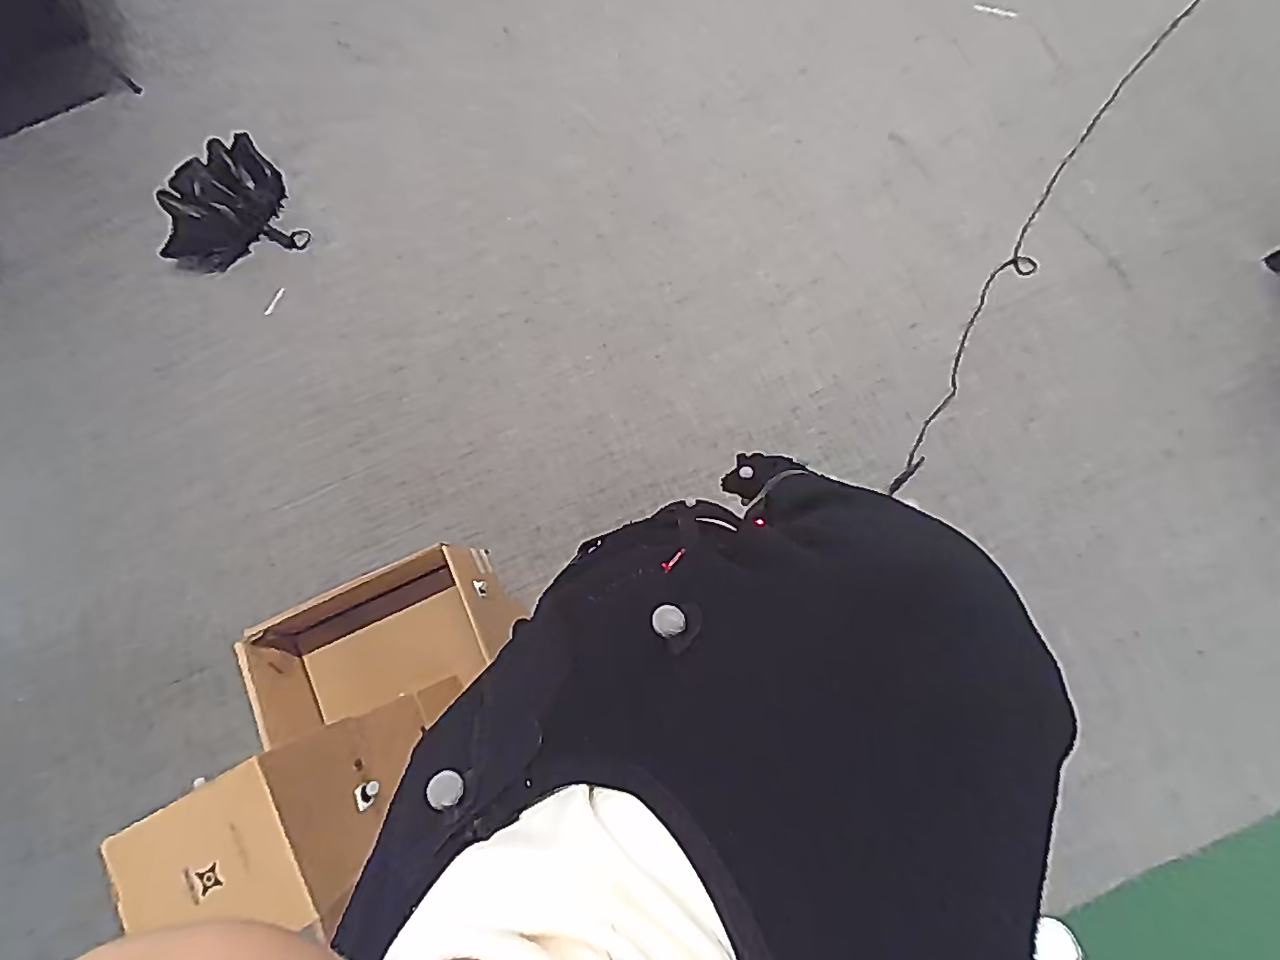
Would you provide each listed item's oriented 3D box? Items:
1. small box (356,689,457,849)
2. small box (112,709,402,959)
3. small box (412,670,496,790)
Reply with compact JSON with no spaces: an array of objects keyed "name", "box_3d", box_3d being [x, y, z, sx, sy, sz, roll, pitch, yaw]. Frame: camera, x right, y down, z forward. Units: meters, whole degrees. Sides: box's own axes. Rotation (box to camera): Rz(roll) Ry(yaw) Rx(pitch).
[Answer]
[{"name":"small box","box_3d":[-0.394,0.422,0.762,0.179,0.176,0.168,-30,79,-2]},{"name":"small box","box_3d":[-0.408,0.387,0.605,0.179,0.176,0.168,-30,80,-2]},{"name":"small box","box_3d":[-0.378,0.451,0.923,0.179,0.176,0.168,-31,80,-1]}]
